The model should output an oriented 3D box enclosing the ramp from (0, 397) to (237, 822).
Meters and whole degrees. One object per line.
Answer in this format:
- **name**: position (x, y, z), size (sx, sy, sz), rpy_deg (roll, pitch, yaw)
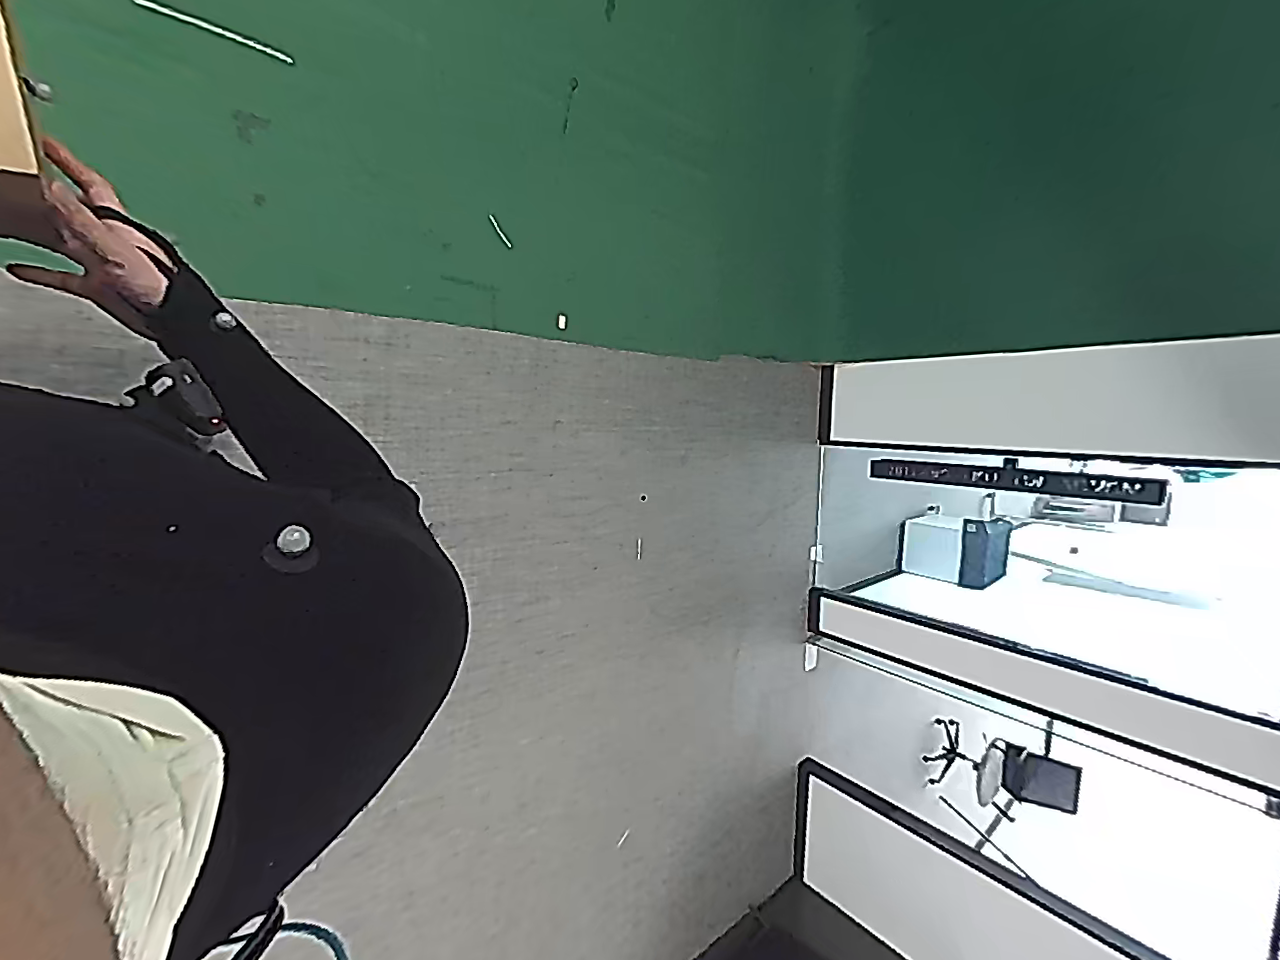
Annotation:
- **ramp**: position (-1.267, 0.303, 1.257), size (0.509, 0.206, 0.991), rpy_deg (-8, 102, -41)
